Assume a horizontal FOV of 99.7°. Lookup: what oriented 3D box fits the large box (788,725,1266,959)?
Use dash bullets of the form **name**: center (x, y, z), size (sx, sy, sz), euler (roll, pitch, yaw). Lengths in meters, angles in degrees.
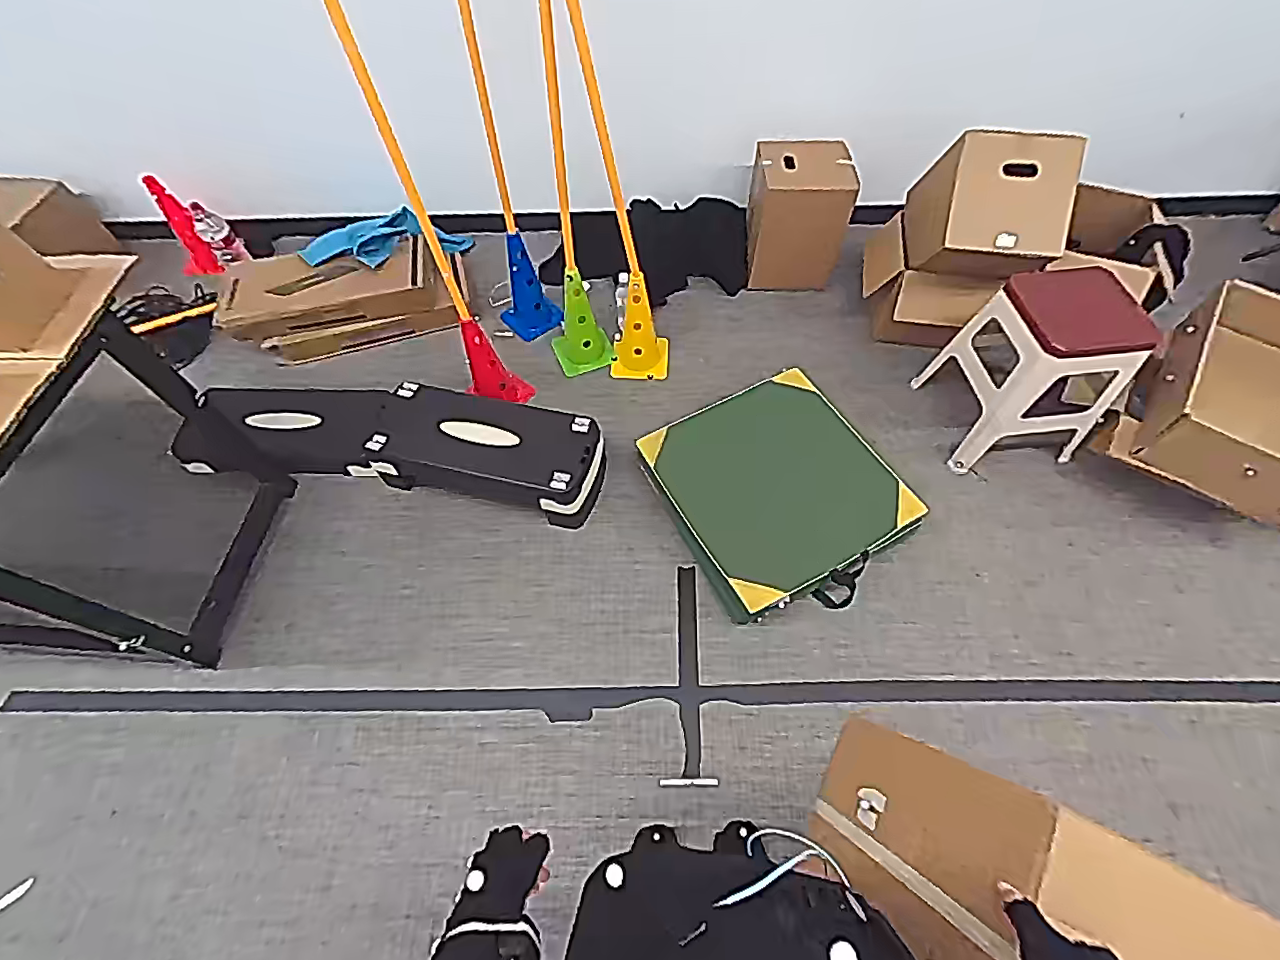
- **large box**: center (0.465, 0.581, 0.728), size (0.320, 0.408, 0.320), euler (26, 75, -3)
